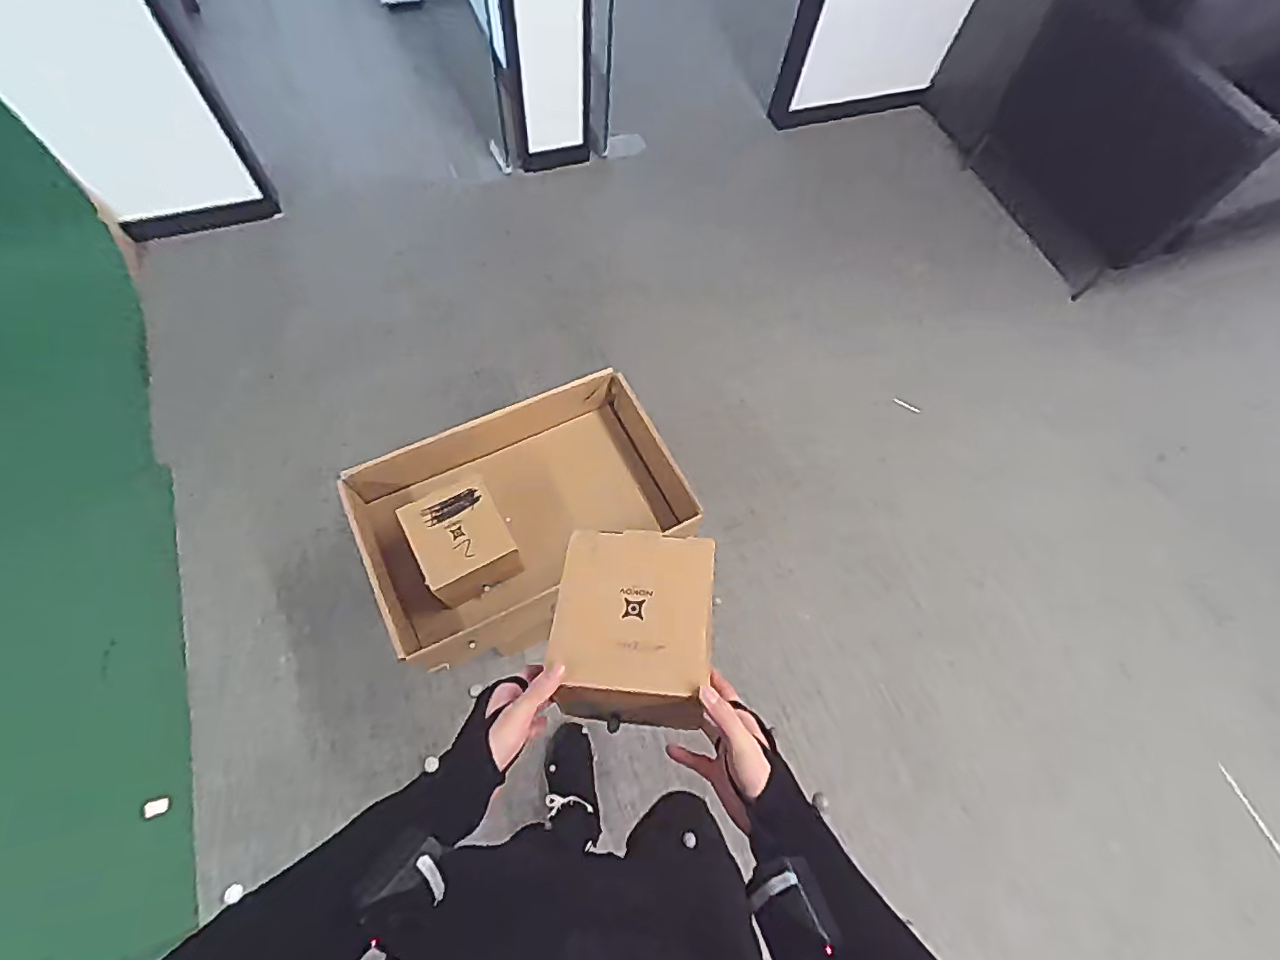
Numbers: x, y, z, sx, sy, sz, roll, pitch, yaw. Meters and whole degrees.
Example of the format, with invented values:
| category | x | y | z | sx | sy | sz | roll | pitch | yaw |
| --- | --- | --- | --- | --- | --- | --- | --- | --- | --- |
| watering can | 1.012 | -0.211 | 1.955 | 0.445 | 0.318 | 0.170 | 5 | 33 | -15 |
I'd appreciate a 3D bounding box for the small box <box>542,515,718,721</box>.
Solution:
| category | x | y | z | sx | sy | sz | roll | pitch | yaw |
| --- | --- | --- | --- | --- | --- | --- | --- | --- | --- |
| small box | -0.004 | 0.162 | 0.624 | 0.168 | 0.176 | 0.179 | 4 | 56 | 5 |
